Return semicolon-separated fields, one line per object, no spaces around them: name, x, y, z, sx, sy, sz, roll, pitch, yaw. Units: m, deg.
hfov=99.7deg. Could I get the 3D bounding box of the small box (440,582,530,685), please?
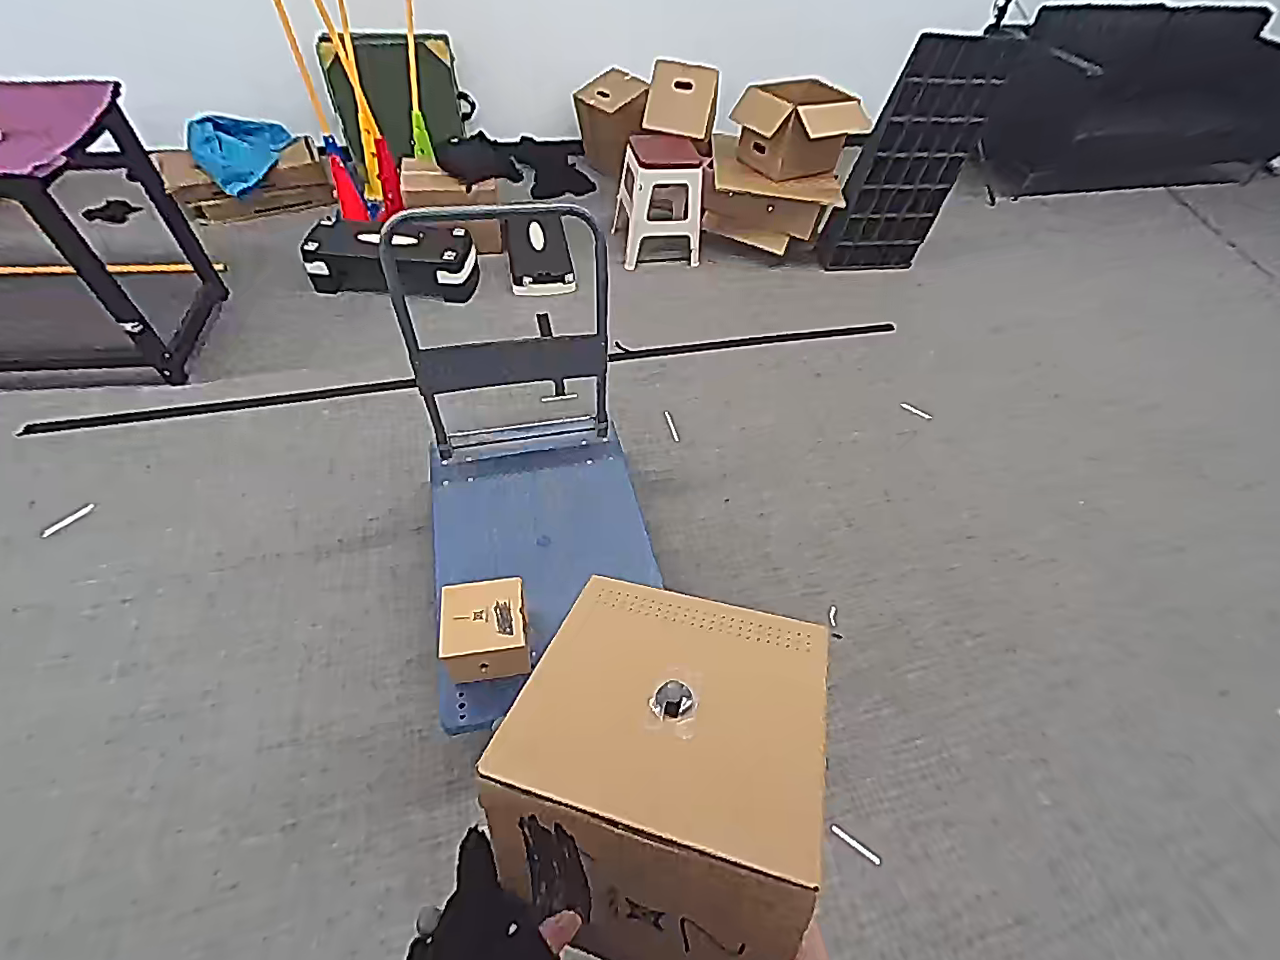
small box;-0.342;0.349;1.224;0.179;0.176;0.168;-6;53;-9
